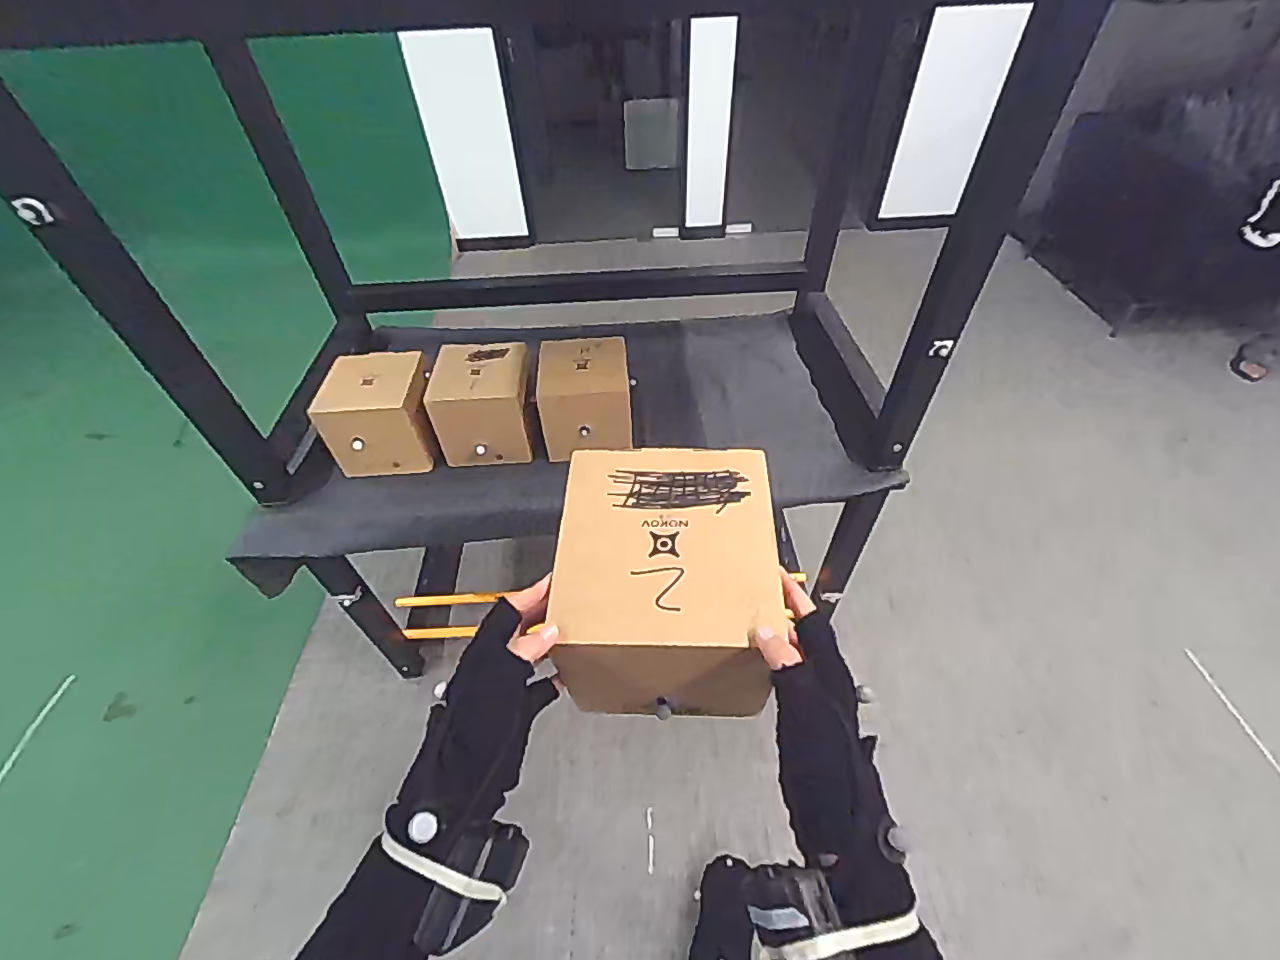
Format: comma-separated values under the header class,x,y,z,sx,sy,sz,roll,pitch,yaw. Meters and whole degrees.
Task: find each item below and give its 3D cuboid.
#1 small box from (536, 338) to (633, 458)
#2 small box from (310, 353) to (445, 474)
class,x,y,z,sx,sy,sz,roll,pitch,yaw
small box,-0.103,-0.155,1.058,0.168,0.176,0.179,-4,46,-2
small box,-0.492,-0.123,1.046,0.168,0.176,0.179,-4,46,-2
